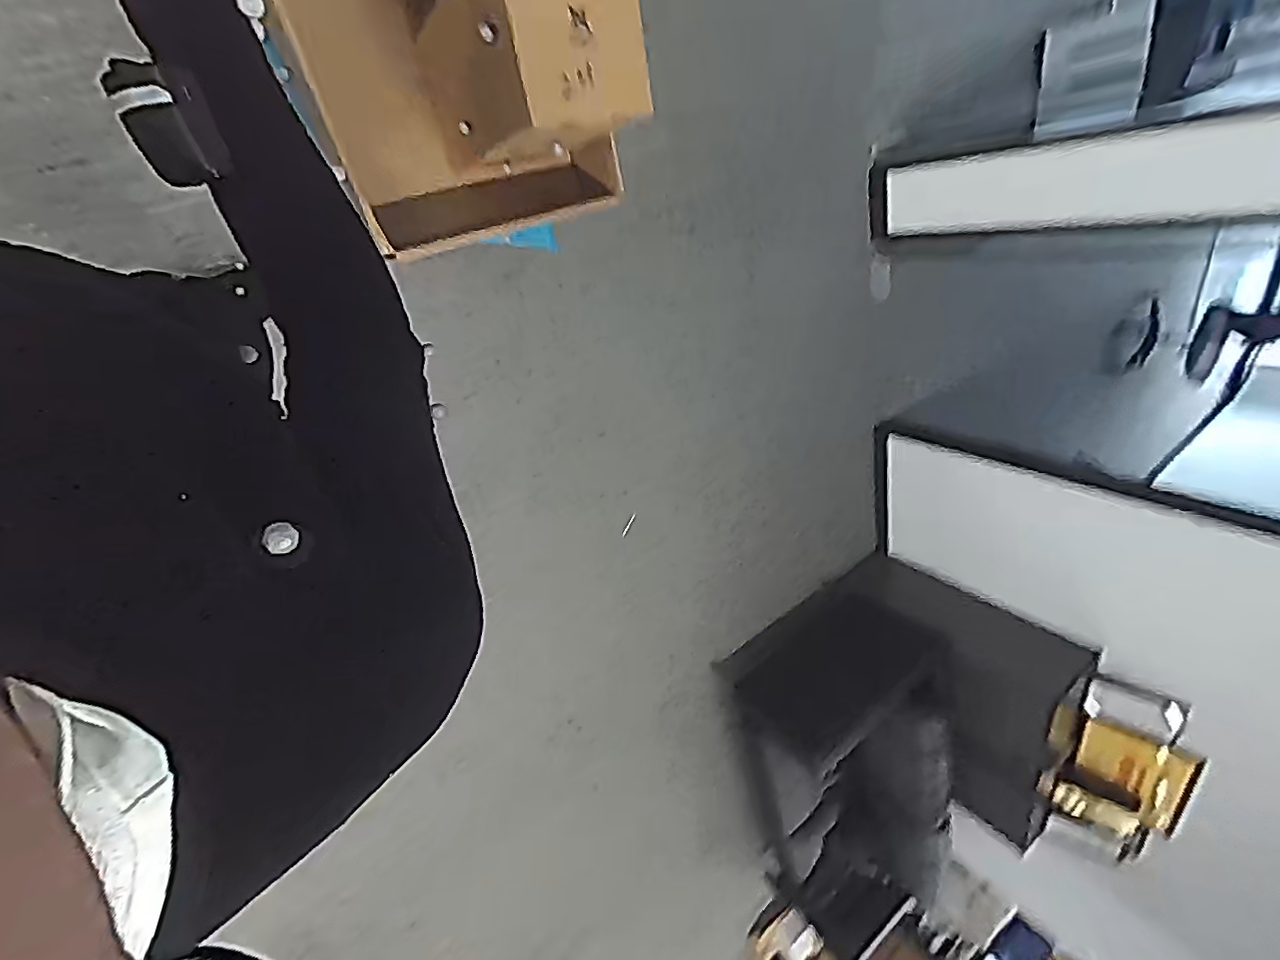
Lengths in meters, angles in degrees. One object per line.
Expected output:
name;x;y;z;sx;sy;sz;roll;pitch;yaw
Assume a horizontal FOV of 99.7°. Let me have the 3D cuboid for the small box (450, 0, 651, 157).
small box;-0.110;-0.513;0.655;0.168;0.176;0.179;-25;121;-26
